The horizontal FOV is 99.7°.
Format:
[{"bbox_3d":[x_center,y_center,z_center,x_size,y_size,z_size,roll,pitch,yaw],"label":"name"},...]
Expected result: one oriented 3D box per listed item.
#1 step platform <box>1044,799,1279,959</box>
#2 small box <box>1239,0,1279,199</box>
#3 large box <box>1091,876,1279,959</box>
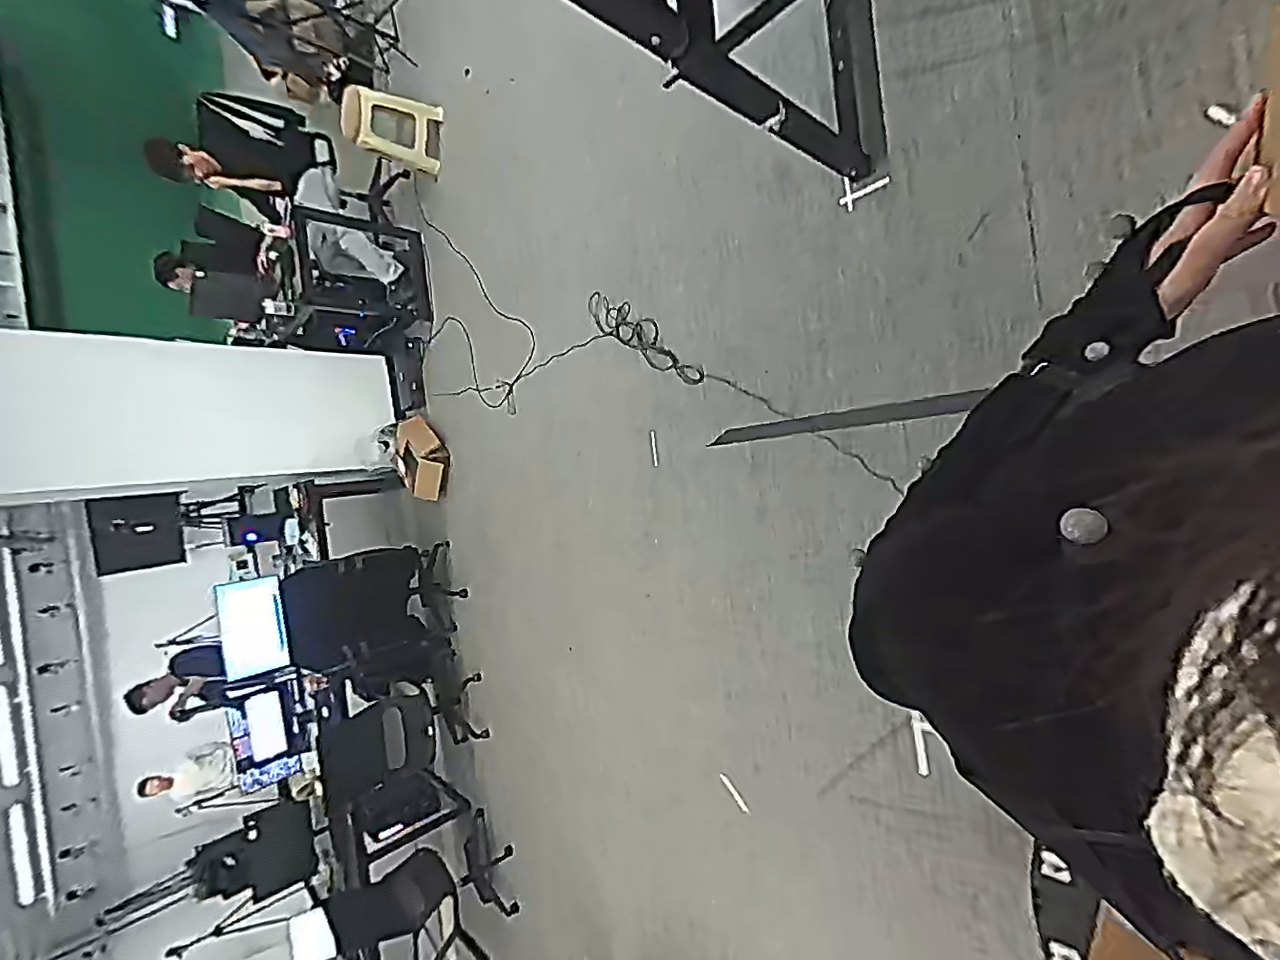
[{"bbox_3d":[1.135,0.878,0.950,0.684,0.204,0.286,3,97,46],"label":"step platform"},{"bbox_3d":[0.405,-0.229,0.225,0.179,0.176,0.168,4,116,39],"label":"small box"},{"bbox_3d":[0.949,0.910,0.803,0.408,0.320,0.320,-1,95,46],"label":"large box"}]
